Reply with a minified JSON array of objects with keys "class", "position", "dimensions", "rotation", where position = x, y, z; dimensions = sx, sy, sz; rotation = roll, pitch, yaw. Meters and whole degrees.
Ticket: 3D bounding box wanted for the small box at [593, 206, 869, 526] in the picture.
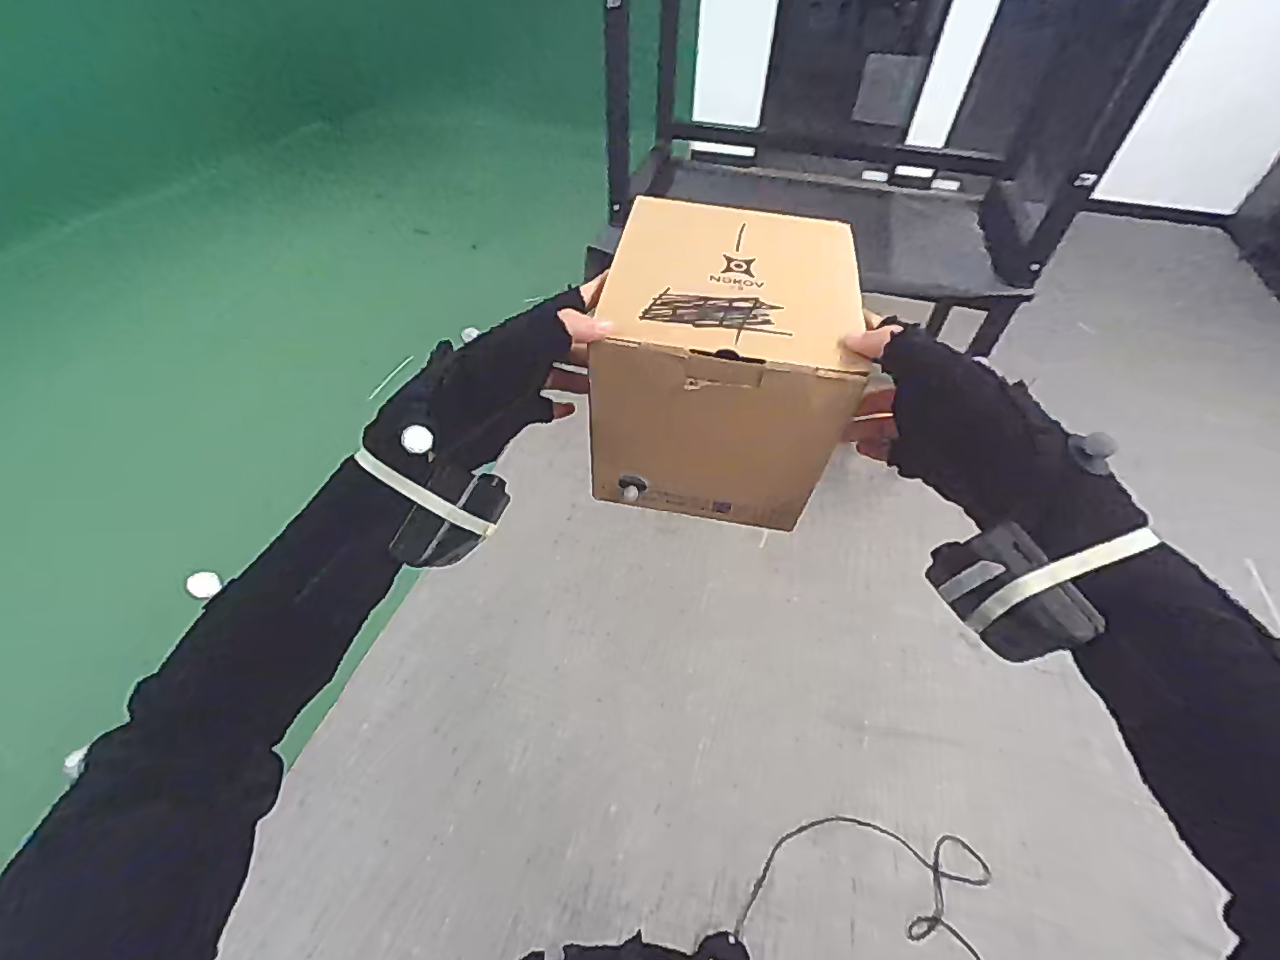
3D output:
[{"class":"small box","position":[0.064,-0.085,0.428],"dimensions":[0.168,0.176,0.179],"rotation":[10,52,4]}]
